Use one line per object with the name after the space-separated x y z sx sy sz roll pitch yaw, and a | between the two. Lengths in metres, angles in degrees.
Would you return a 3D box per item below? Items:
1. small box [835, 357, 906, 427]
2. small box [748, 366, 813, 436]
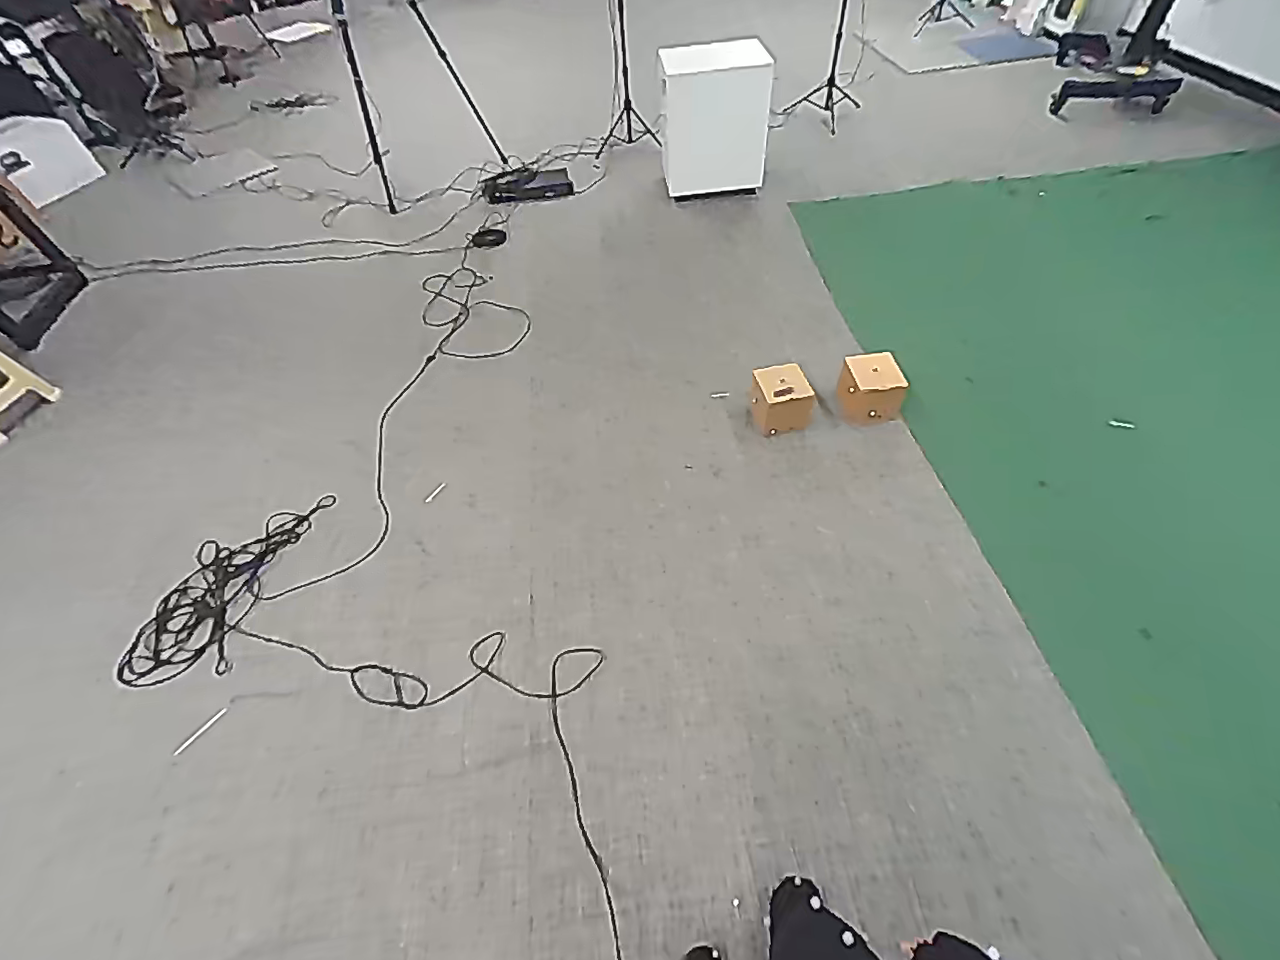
0.815 -0.314 1.935 0.168 0.176 0.179 -7 53 0 | small box
0.494 -0.274 1.925 0.168 0.176 0.179 -11 52 -4 | small box
